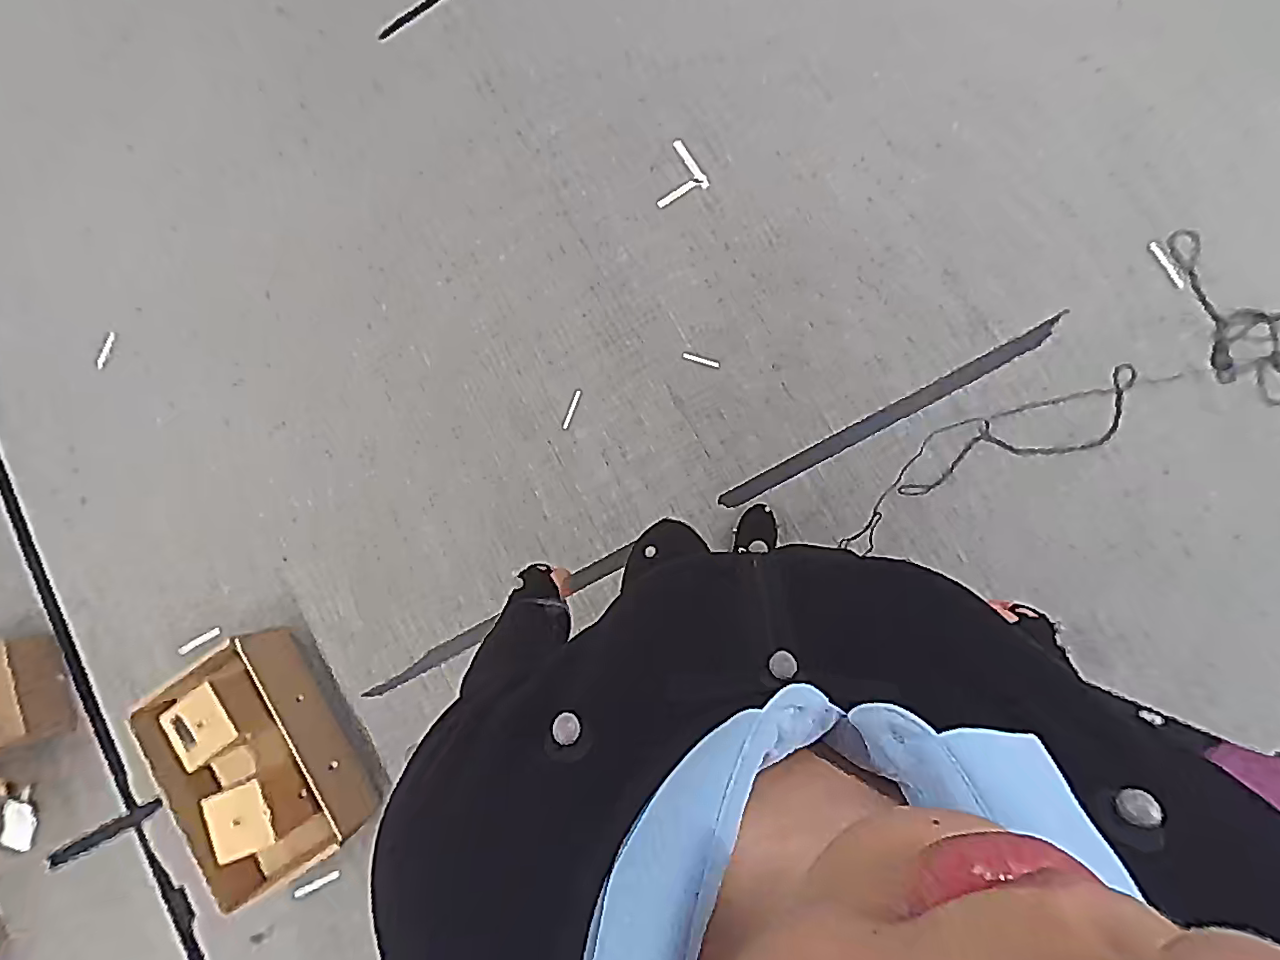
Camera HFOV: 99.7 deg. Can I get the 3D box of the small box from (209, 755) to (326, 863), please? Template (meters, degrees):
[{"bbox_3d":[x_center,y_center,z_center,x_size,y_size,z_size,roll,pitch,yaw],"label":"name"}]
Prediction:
[{"bbox_3d":[-1.003,0.883,1.466,0.179,0.176,0.168,-24,82,6],"label":"small box"}]
